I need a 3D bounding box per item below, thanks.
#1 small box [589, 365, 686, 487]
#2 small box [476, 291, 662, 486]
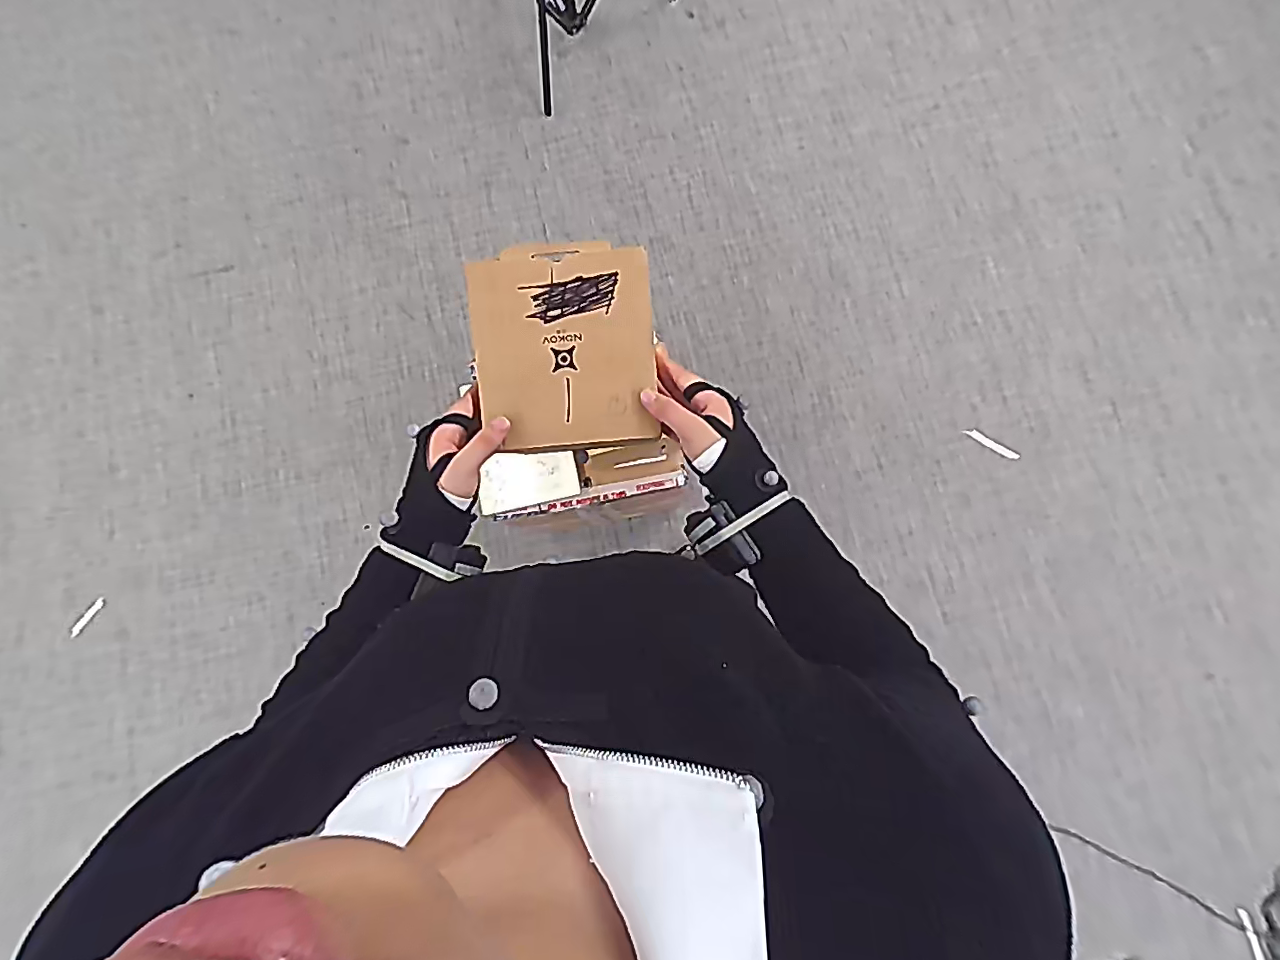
[{"bbox_3d":[-0.026,-0.092,0.999,0.179,0.176,0.168,-15,82,-2],"label":"small box"},{"bbox_3d":[-0.067,-0.088,0.586,0.168,0.176,0.179,-5,92,0],"label":"small box"}]
